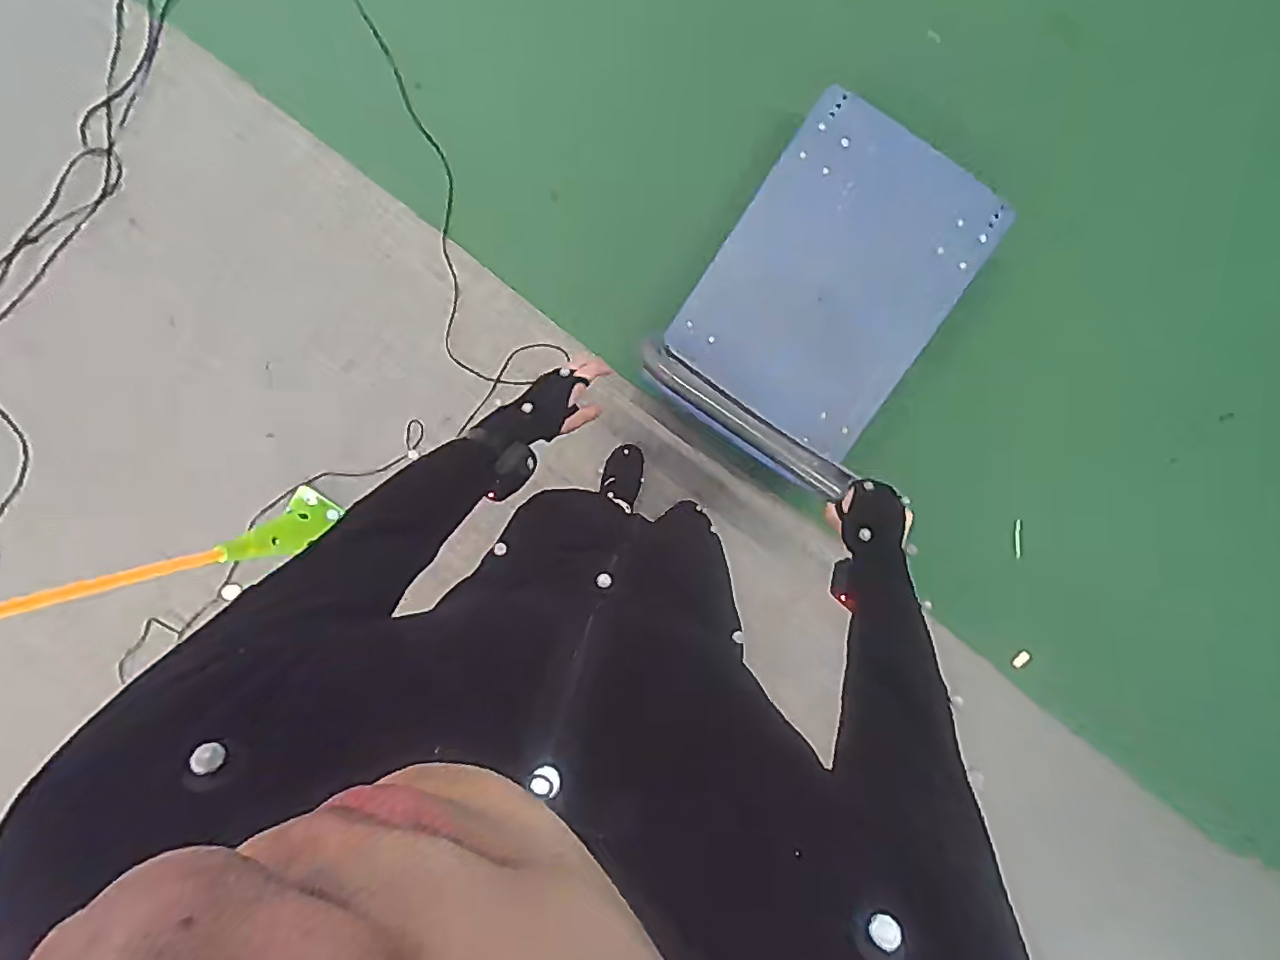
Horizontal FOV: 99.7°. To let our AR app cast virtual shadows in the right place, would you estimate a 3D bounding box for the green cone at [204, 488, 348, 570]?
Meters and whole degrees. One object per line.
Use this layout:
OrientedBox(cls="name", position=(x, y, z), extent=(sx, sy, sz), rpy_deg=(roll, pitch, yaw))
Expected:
OrientedBox(cls="green cone", position=(-1.029, 0.164, 1.492), extent=(0.202, 0.368, 0.200), rpy_deg=(35, 96, 0))
